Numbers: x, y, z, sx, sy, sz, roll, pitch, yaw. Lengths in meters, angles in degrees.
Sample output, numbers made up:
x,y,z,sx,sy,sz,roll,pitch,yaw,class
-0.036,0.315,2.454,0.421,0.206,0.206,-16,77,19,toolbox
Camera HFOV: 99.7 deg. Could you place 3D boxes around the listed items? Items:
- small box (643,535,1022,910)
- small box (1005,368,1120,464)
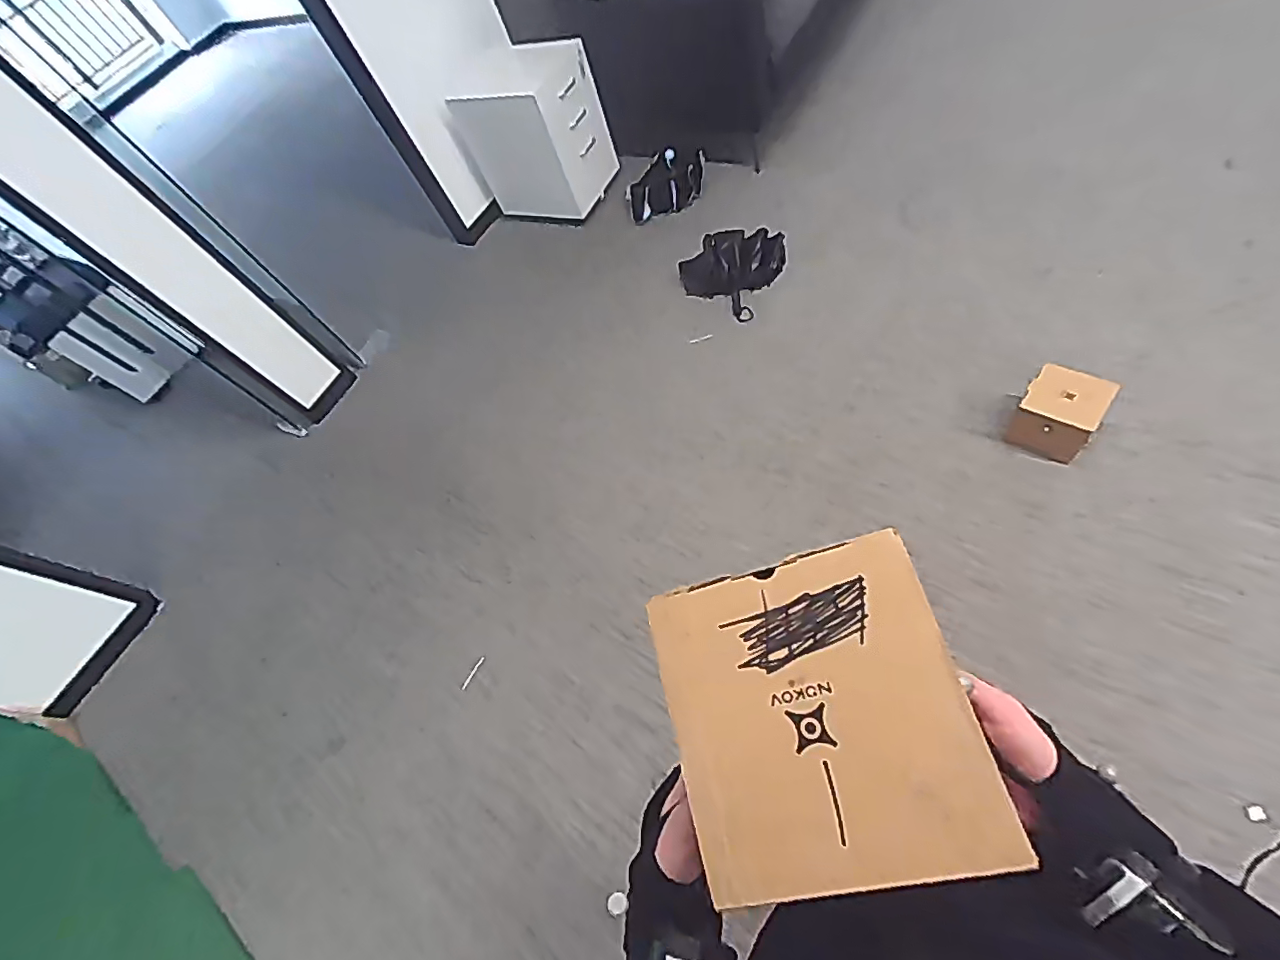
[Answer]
x,y,z,sx,sy,sz,roll,pitch,yaw,class
0.119,0.158,0.380,0.168,0.176,0.179,-20,67,15,small box
1.136,-0.169,1.469,0.179,0.176,0.168,31,75,29,small box
